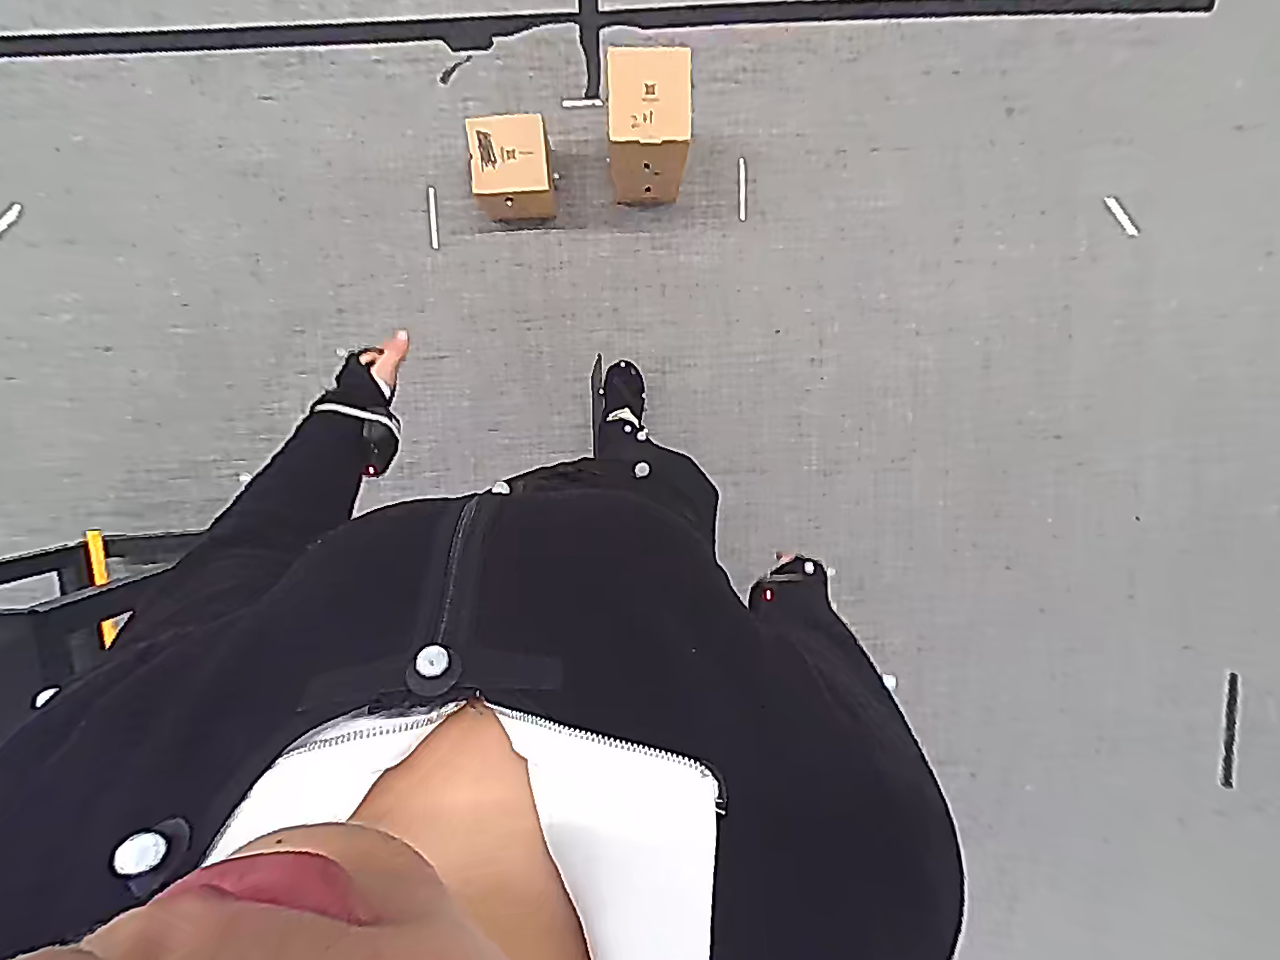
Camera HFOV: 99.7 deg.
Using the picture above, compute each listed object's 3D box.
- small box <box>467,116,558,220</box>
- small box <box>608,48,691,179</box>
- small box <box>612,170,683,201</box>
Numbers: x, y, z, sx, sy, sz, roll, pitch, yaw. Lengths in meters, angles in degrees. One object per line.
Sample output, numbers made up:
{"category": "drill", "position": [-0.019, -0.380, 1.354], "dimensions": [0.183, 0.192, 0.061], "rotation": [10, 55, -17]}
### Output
{"category": "small box", "position": [-0.302, -0.745, 1.308], "dimensions": [0.179, 0.176, 0.168], "rotation": [-4, 97, -1]}
{"category": "small box", "position": [0.016, -0.768, 1.148], "dimensions": [0.168, 0.176, 0.179], "rotation": [-1, 97, -1]}
{"category": "small box", "position": [0.015, -0.794, 1.313], "dimensions": [0.168, 0.176, 0.179], "rotation": [-3, 97, -1]}
